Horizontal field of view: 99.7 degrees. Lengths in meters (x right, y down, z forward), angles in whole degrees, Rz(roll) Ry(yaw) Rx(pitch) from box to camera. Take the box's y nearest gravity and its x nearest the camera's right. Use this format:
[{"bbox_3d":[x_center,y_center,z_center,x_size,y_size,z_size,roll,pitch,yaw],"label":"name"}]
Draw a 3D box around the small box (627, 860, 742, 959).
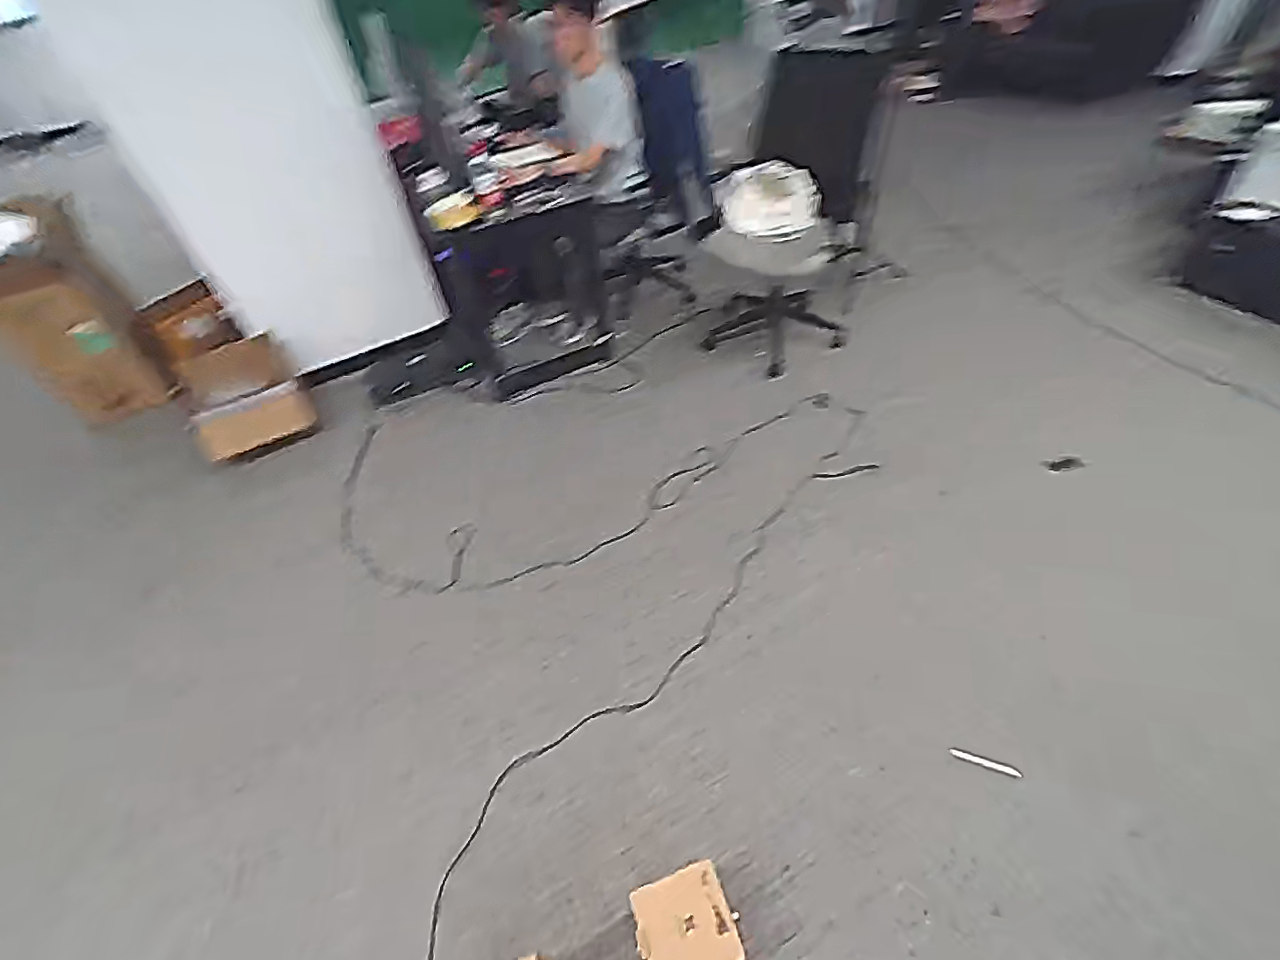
[{"bbox_3d":[0.089,0.893,1.069,0.179,0.176,0.168,-18,47,-9],"label":"small box"}]
